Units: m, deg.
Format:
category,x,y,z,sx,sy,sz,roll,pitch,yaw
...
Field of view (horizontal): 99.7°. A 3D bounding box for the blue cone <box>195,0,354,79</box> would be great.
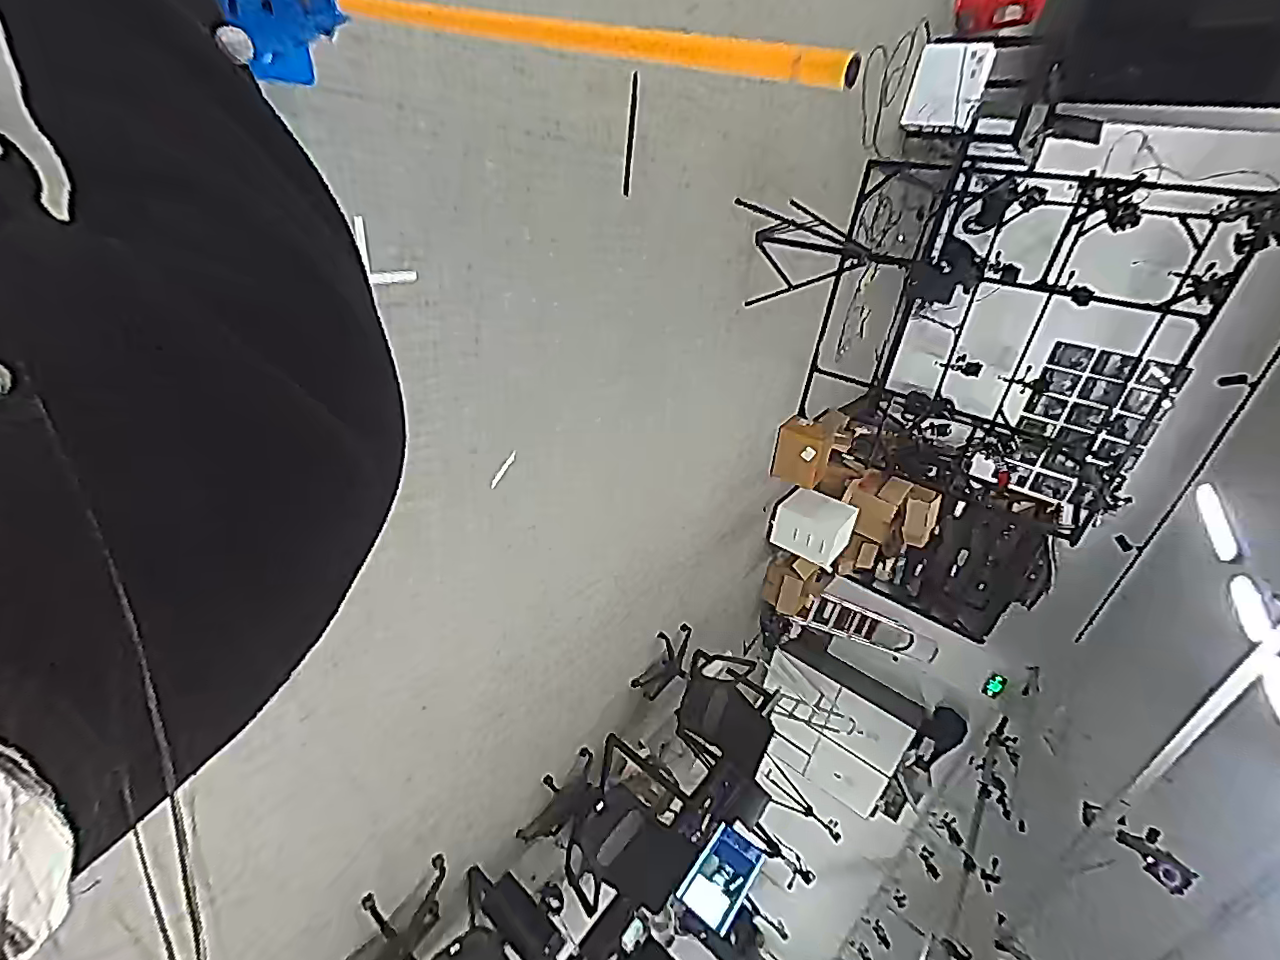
category,x,y,z,sx,sy,sz,roll,pitch,yaw
blue cone,-0.601,-0.818,0.933,0.193,0.380,0.192,-30,135,-44
